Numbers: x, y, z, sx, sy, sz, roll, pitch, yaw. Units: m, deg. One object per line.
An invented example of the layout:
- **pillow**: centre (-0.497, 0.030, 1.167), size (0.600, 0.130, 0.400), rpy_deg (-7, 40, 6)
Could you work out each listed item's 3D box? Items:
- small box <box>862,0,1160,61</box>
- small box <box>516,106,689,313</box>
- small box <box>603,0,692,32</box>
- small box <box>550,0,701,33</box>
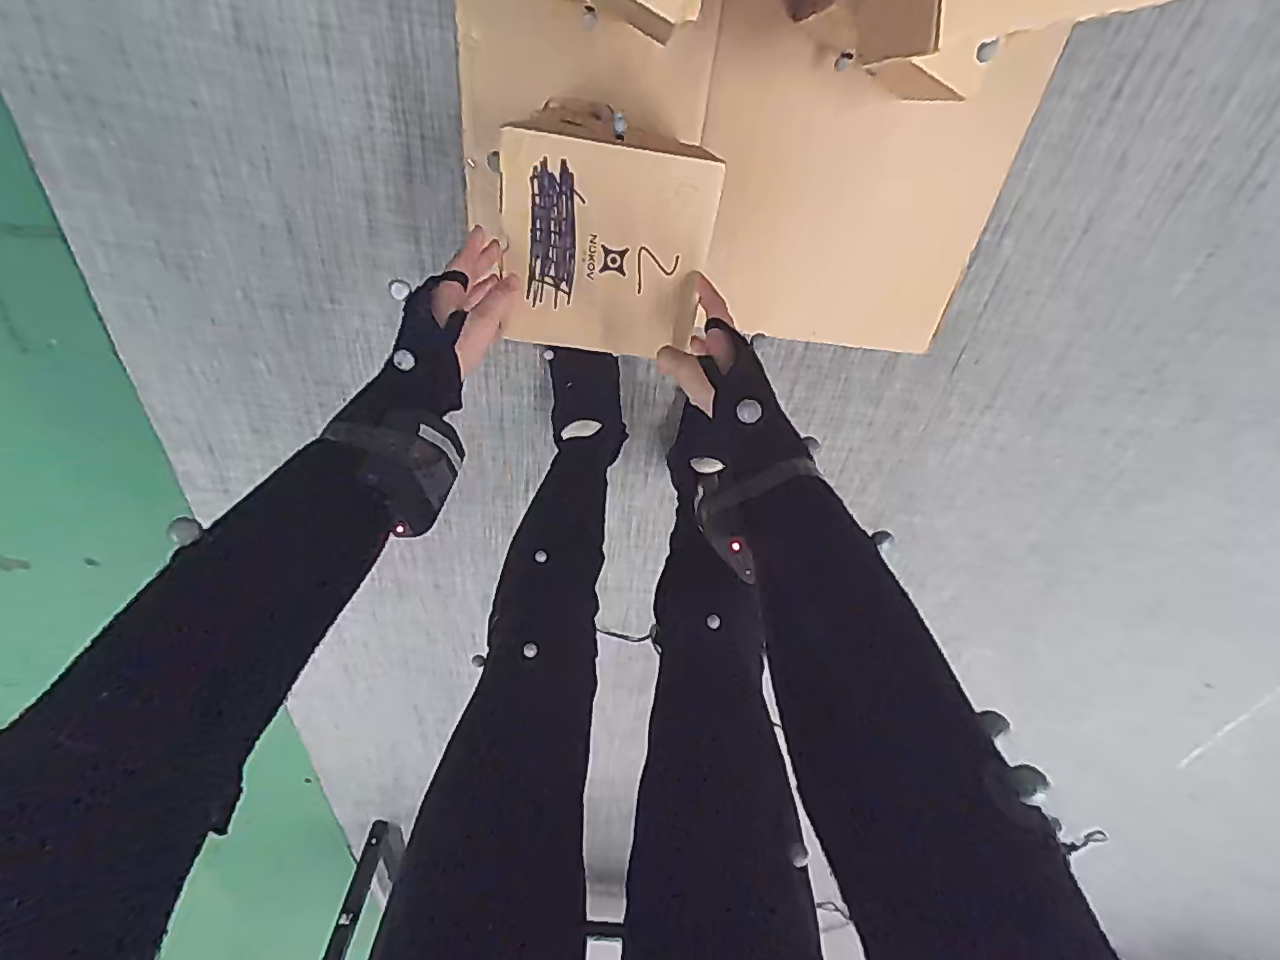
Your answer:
- **small box**: centre (0.272, -0.421, 0.386), size (0.179, 0.176, 0.168), rpy_deg (-8, 124, 7)
- **small box**: centre (-0.046, -0.331, 0.658), size (0.168, 0.176, 0.179), rpy_deg (10, 124, -8)
- **small box**: centre (-0.013, -0.450, 0.373), size (0.179, 0.176, 0.168), rpy_deg (21, 122, -15)
- **small box**: centre (-0.011, -0.547, 0.506), size (0.168, 0.176, 0.179), rpy_deg (7, 124, -5)
